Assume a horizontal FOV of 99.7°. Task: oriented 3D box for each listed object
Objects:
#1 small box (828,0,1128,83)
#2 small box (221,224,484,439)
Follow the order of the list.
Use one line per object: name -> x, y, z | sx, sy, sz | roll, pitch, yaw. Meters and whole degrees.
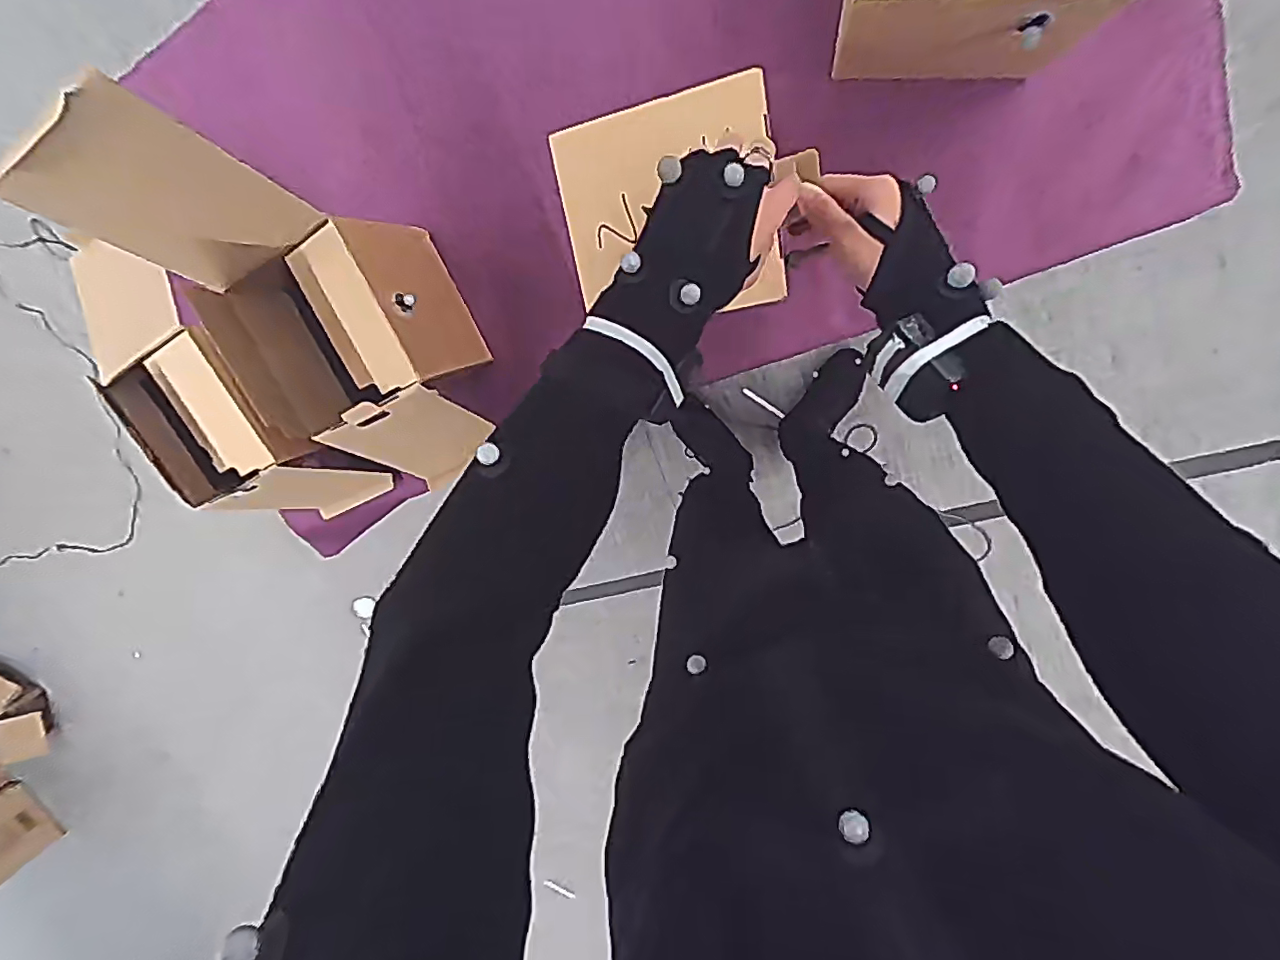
small box -> 0.249, -0.416, 0.397 | 0.179, 0.176, 0.168 | 9, 112, 11
small box -> -0.316, -0.174, 0.632 | 0.168, 0.176, 0.179 | -20, 104, 19
